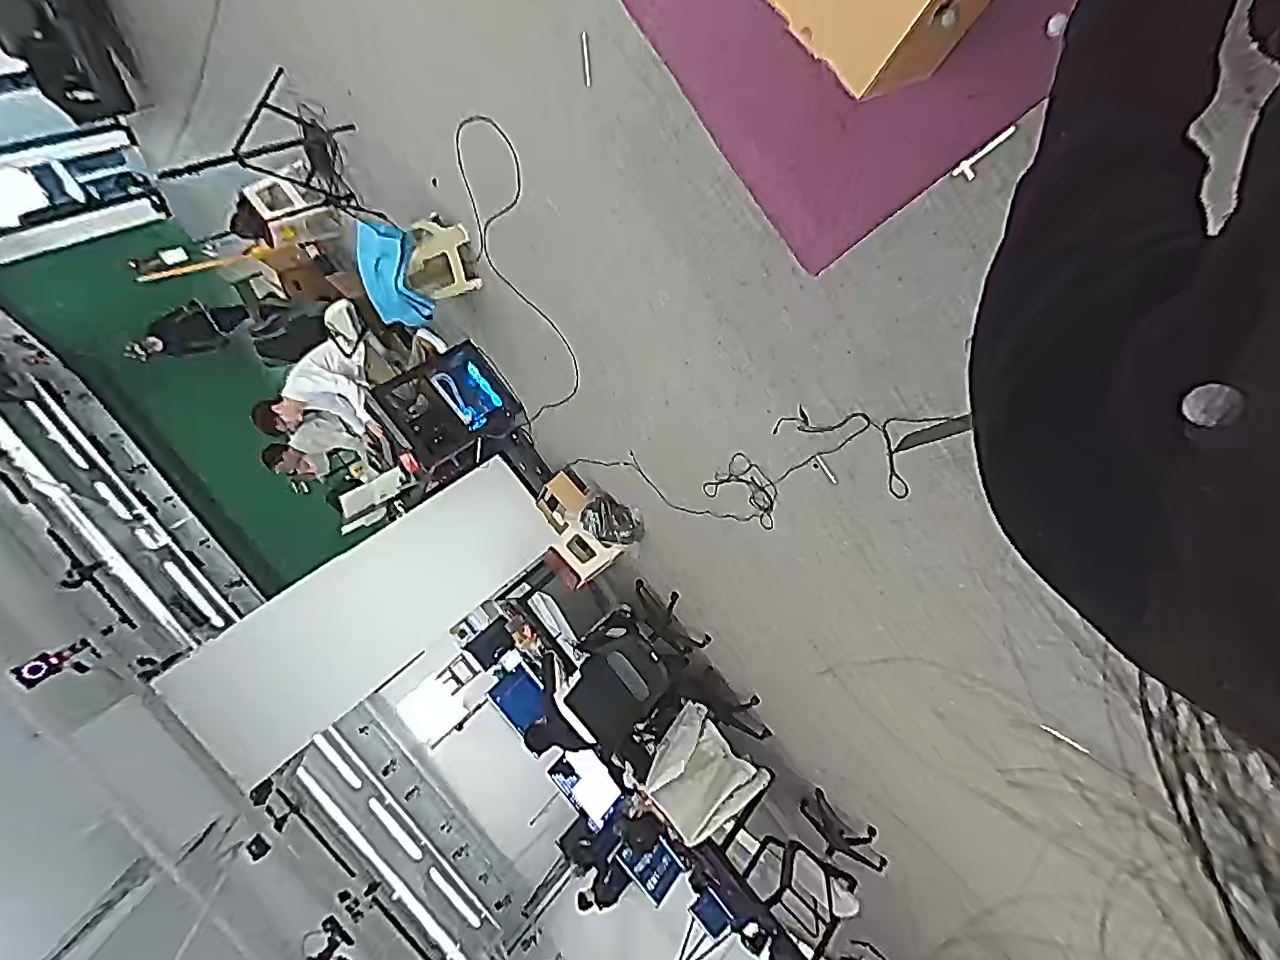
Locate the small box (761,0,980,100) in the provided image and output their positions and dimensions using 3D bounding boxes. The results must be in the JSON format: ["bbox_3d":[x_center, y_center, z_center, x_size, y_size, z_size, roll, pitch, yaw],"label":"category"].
[{"bbox_3d":[0.241,-0.505,0.496,0.168,0.176,0.179,50,151,3],"label":"small box"}]
